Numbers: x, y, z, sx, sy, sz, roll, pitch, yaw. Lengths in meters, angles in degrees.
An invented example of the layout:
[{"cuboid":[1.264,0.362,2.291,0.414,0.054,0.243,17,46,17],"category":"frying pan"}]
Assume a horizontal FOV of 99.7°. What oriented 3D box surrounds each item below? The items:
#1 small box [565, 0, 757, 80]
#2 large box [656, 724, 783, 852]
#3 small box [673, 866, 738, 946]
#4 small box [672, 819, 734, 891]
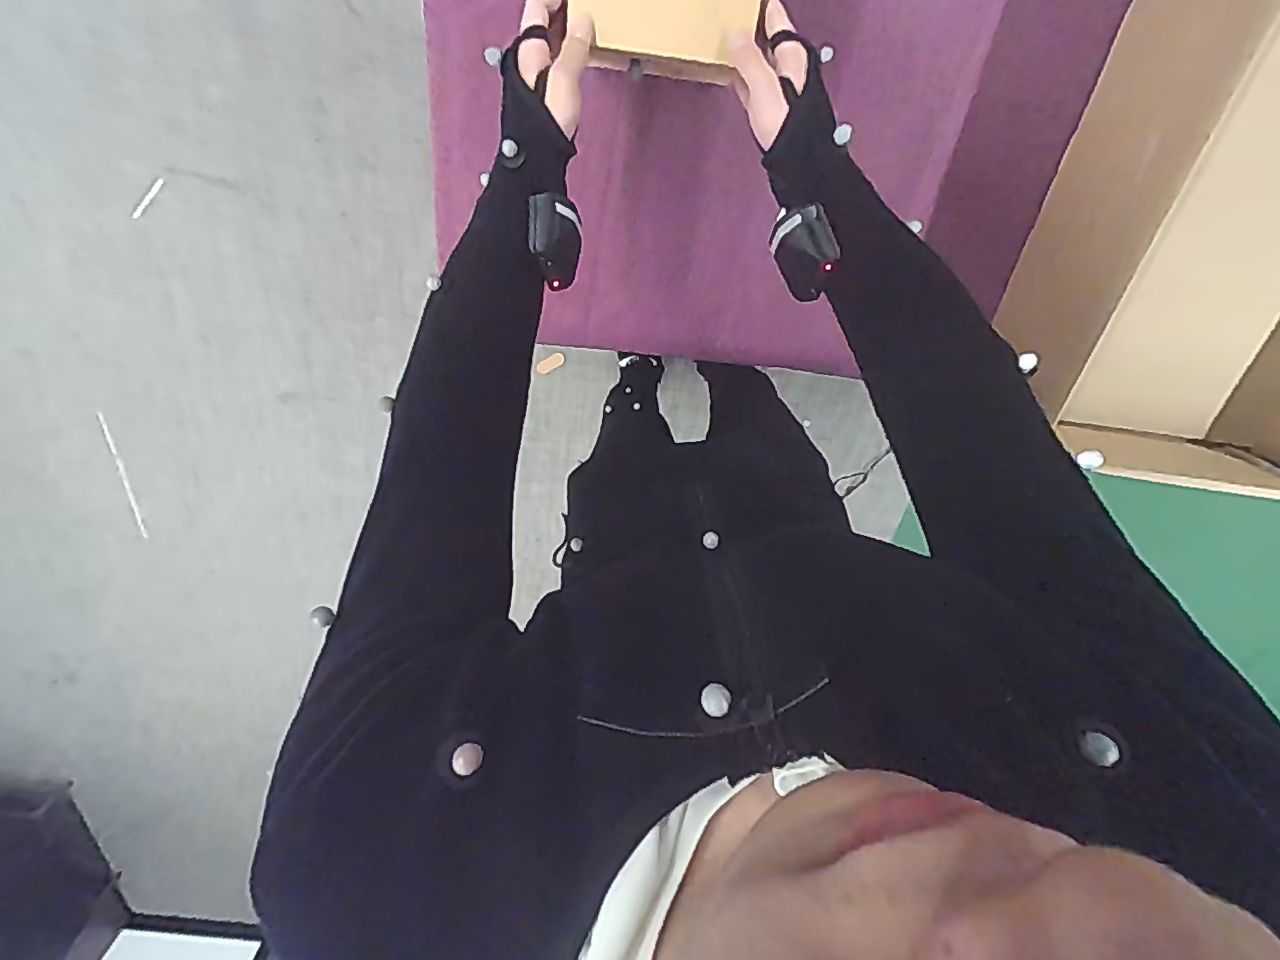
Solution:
[{"cuboid":[0.028,-0.493,0.501,0.168,0.176,0.179,6,121,-2],"category":"small box"},{"cuboid":[0.309,1.256,2.178,0.408,0.320,0.320,-22,116,11],"category":"large box"},{"cuboid":[0.216,1.440,1.815,0.168,0.176,0.179,-21,114,11],"category":"small box"},{"cuboid":[0.225,1.371,1.962,0.179,0.176,0.168,-22,115,12],"category":"small box"}]
